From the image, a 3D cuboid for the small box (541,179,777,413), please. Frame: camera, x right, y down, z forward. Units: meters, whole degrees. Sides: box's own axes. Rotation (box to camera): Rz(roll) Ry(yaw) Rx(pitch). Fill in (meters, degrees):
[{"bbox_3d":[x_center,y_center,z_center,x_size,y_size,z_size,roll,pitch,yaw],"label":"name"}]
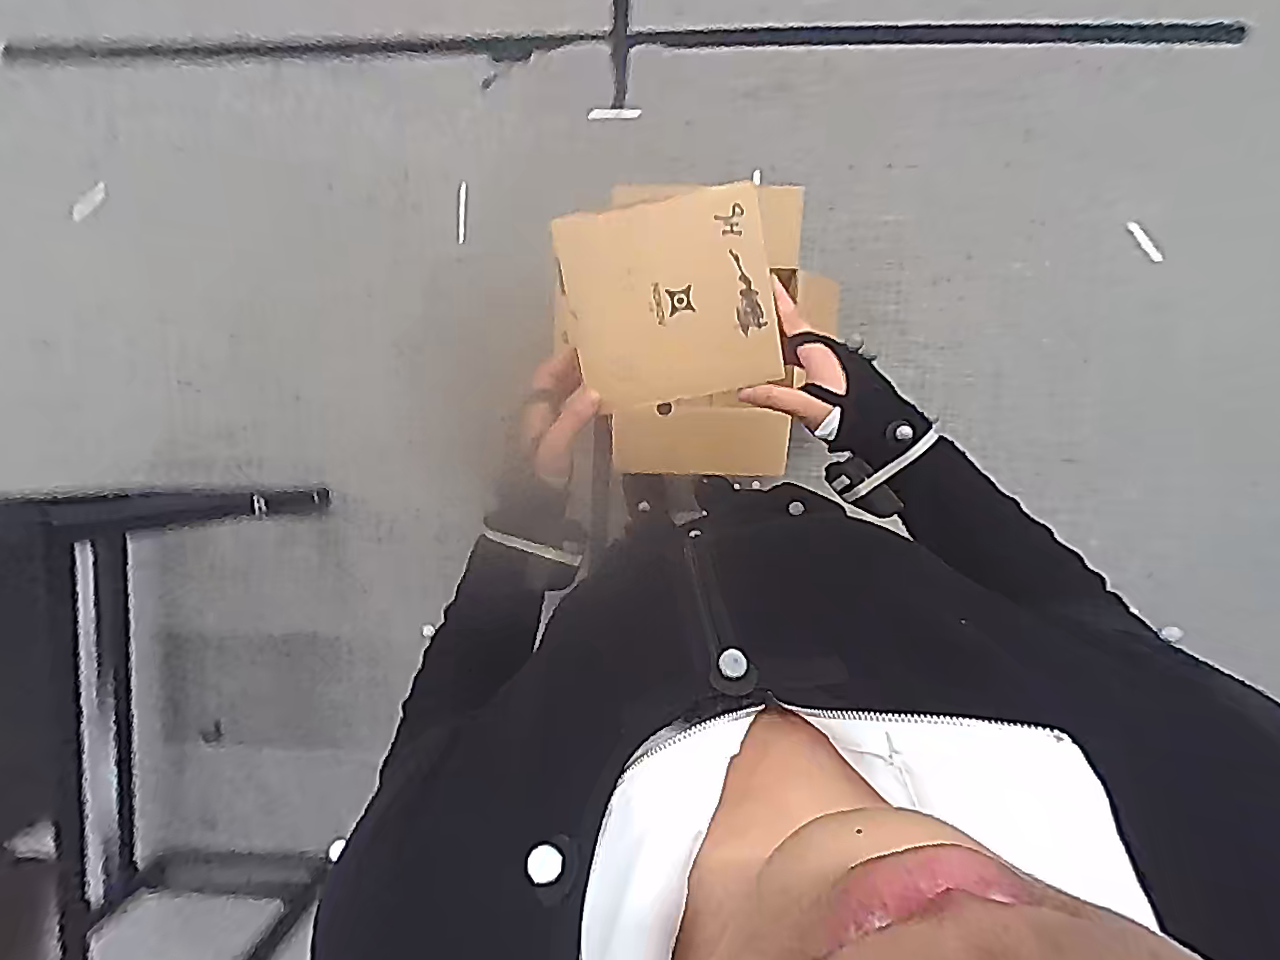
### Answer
[{"bbox_3d":[0.018,-0.161,0.531,0.179,0.176,0.168,-12,98,1],"label":"small box"}]
